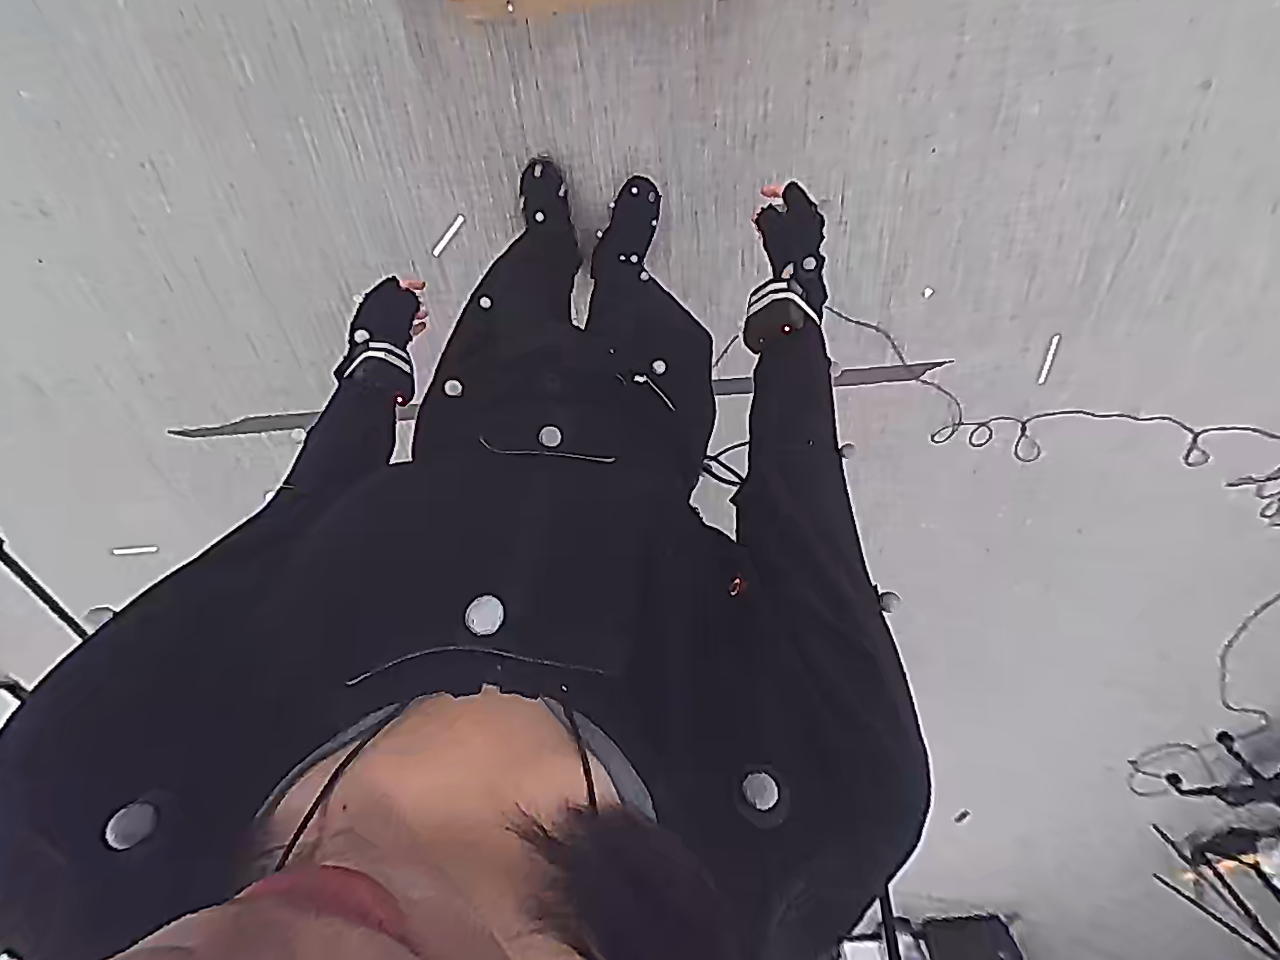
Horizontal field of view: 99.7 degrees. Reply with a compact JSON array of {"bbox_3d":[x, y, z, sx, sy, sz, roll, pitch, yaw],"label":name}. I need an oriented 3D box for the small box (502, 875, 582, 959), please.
[{"bbox_3d":[-0.258,1.216,1.480,0.168,0.176,0.179,-9,122,4],"label":"small box"}]
